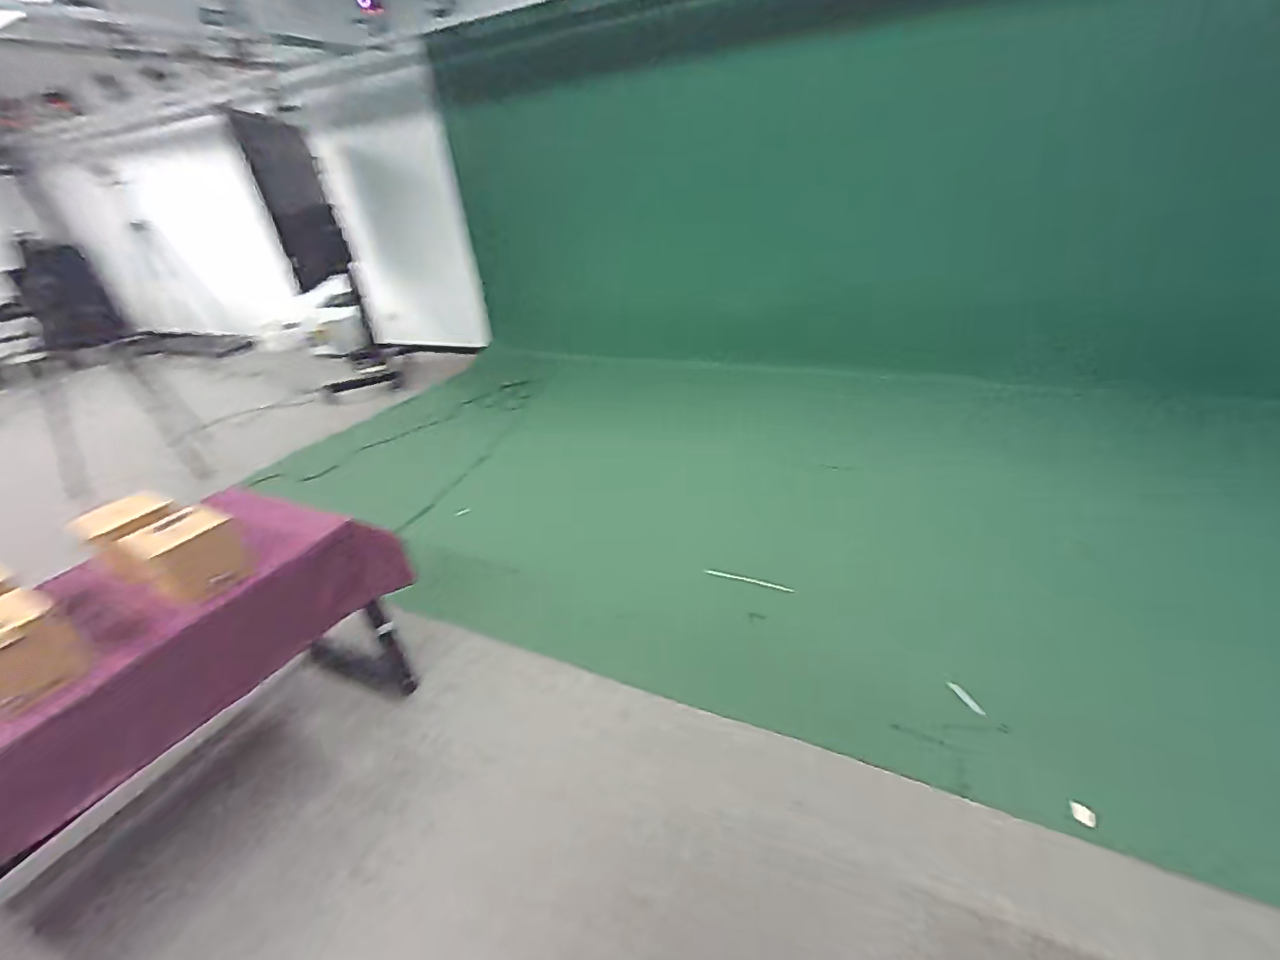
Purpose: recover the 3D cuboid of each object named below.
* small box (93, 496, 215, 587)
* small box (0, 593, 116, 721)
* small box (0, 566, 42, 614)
[{"bbox_3d":[-1.324,0.170,1.483,0.179,0.176,0.168,10,35,29],"label":"small box"},{"bbox_3d":[-1.260,0.368,1.125,0.179,0.176,0.168,9,34,28],"label":"small box"},{"bbox_3d":[-1.478,0.331,1.242,0.168,0.176,0.179,12,35,29],"label":"small box"}]
